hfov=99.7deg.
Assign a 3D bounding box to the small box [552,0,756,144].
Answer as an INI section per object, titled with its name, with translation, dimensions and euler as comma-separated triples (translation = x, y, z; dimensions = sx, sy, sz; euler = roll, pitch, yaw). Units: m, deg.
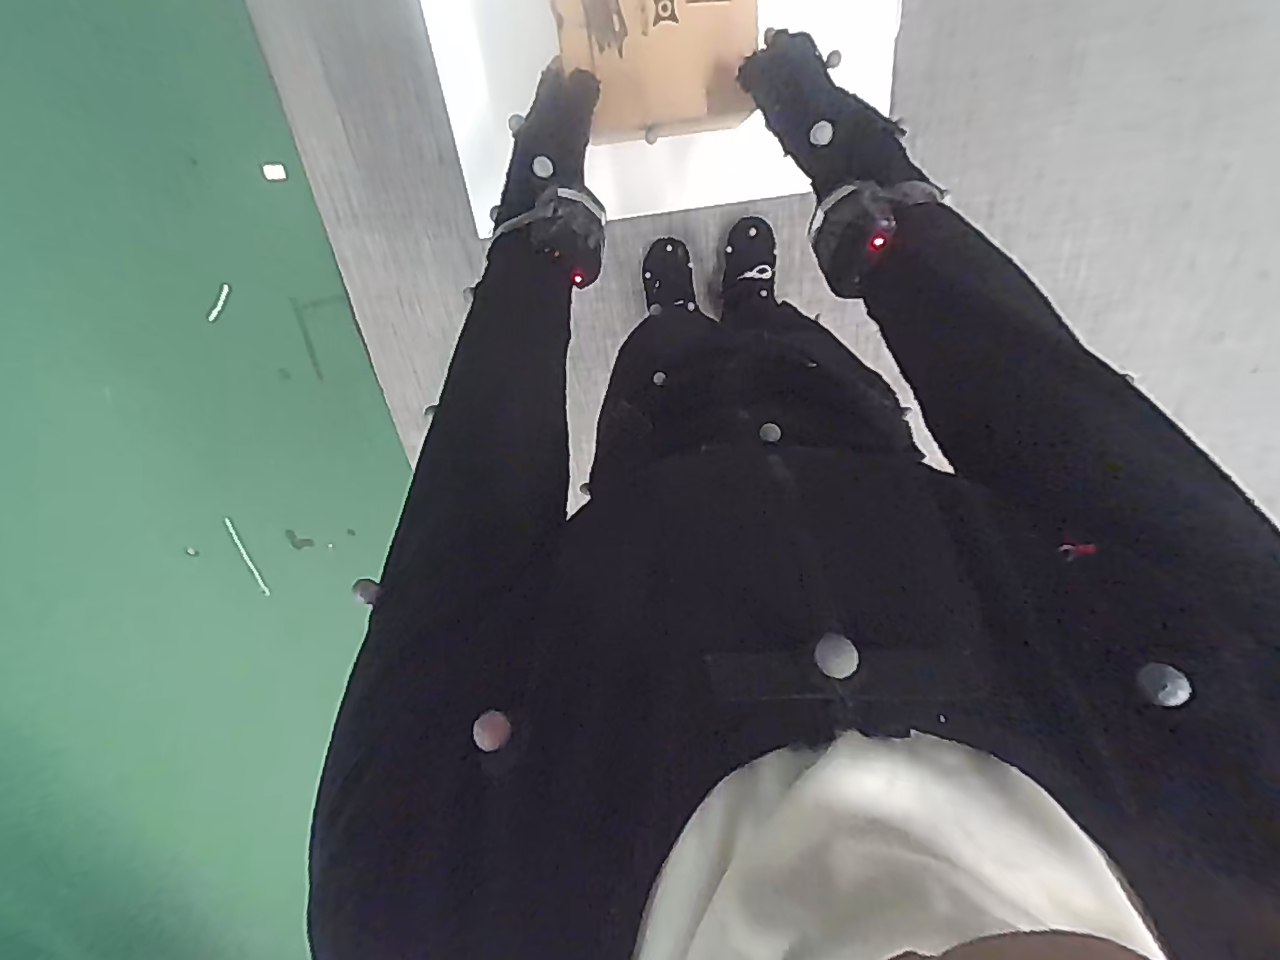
[small box]
translation = 0.017, -0.440, 0.534
dimensions = 0.179, 0.176, 0.168
euler = -4, 118, 5
